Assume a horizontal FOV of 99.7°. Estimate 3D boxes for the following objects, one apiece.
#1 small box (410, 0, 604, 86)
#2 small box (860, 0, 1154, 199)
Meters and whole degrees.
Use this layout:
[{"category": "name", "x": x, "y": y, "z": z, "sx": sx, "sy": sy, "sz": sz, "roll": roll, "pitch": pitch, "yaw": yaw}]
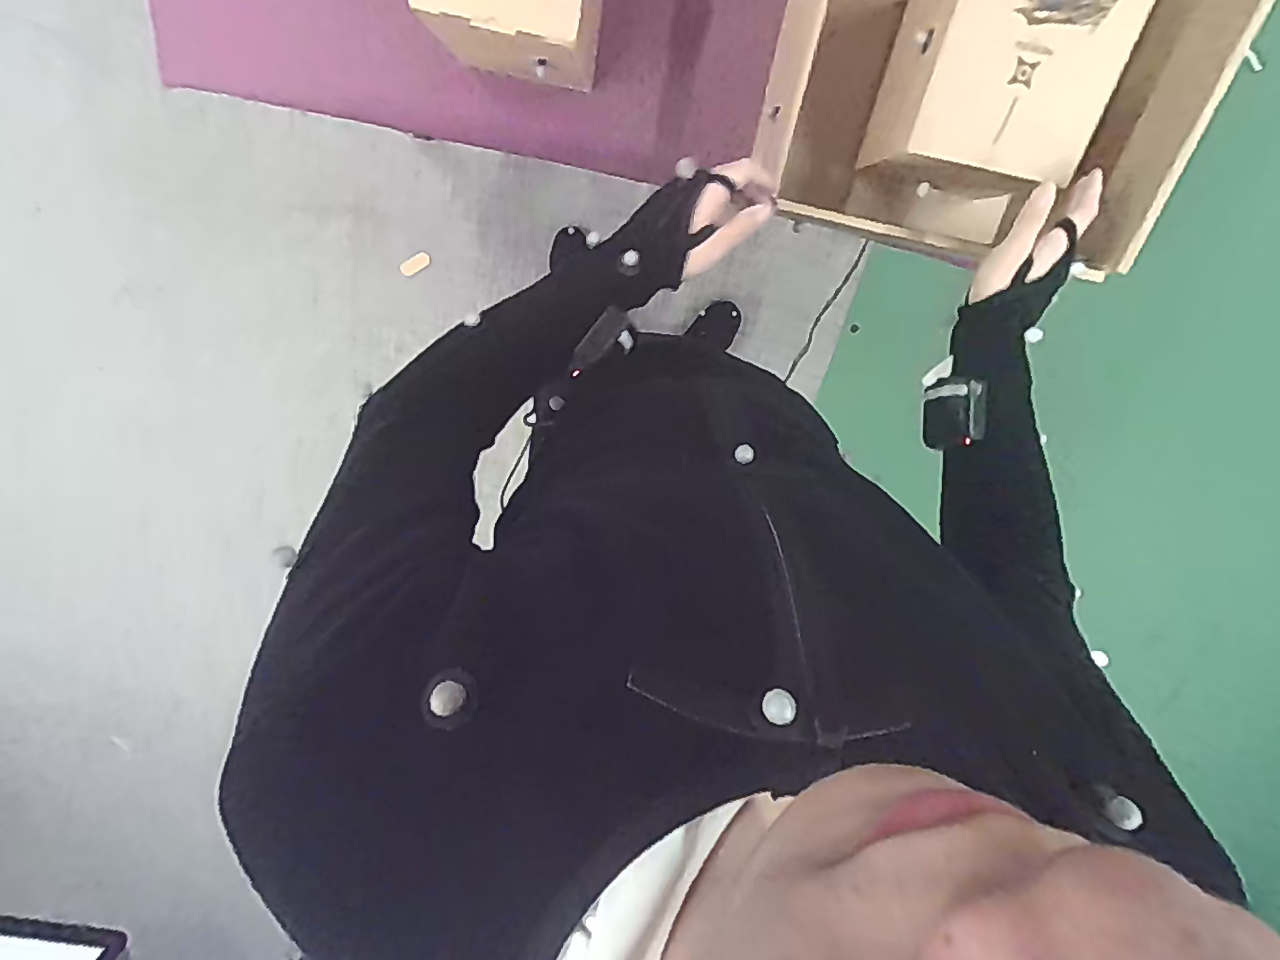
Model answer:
[{"category": "small box", "x": -0.124, "y": -0.548, "z": 0.566, "sx": 0.168, "sy": 0.176, "sz": 0.179, "roll": 11, "pitch": 112, "yaw": -4}, {"category": "small box", "x": 0.355, "y": -0.409, "z": 0.561, "sx": 0.168, "sy": 0.176, "sz": 0.179, "roll": 12, "pitch": 114, "yaw": -2}]
